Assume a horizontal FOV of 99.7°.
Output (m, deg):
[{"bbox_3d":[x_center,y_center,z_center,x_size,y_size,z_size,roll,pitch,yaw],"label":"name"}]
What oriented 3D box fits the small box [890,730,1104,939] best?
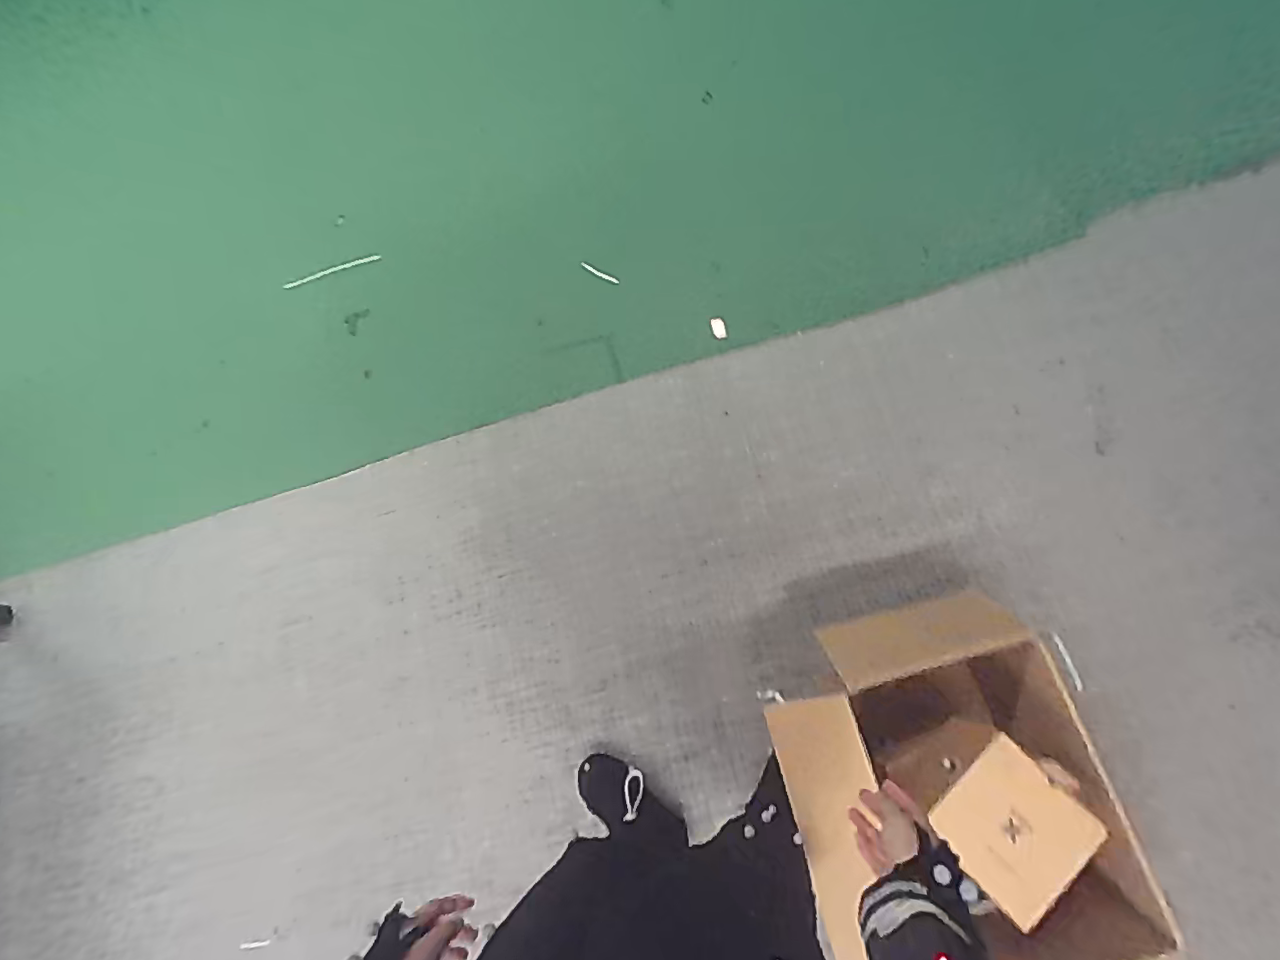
[{"bbox_3d":[0.508,0.501,0.802,0.179,0.176,0.168,-43,73,-7],"label":"small box"}]
